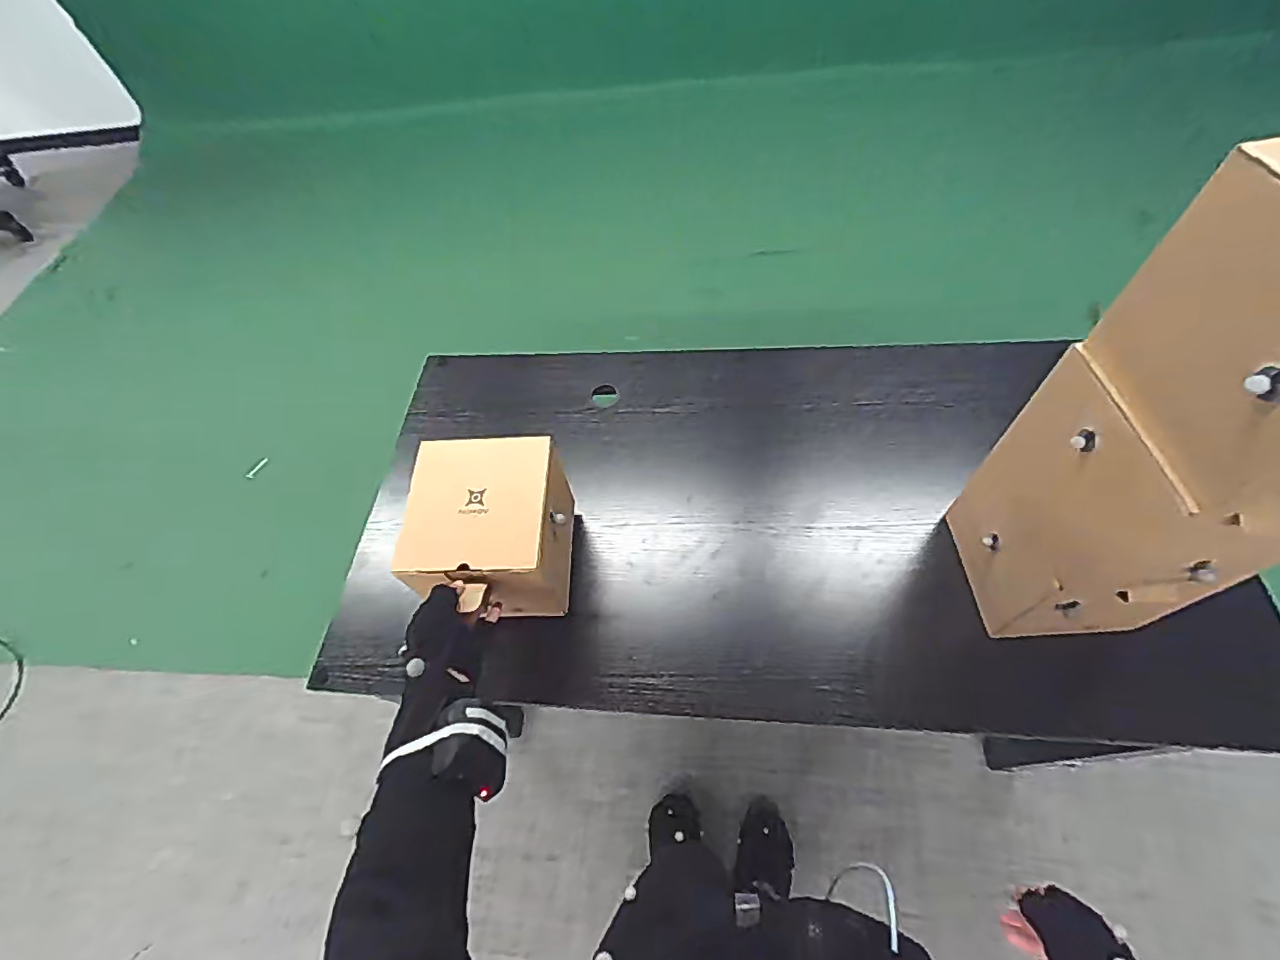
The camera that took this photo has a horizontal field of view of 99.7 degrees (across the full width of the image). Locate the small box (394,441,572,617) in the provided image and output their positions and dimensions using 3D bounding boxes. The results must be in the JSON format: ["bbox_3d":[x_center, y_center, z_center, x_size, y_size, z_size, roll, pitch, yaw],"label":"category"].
[{"bbox_3d":[-0.184,0.068,0.697,0.168,0.176,0.179,-2,61,3],"label":"small box"}]

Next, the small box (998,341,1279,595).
[{"bbox_3d":[0.471,-0.012,0.493,0.168,0.176,0.179,-7,58,4],"label":"small box"}]

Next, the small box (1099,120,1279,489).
[{"bbox_3d":[0.457,-0.106,0.340,0.168,0.176,0.179,-7,57,4],"label":"small box"}]
